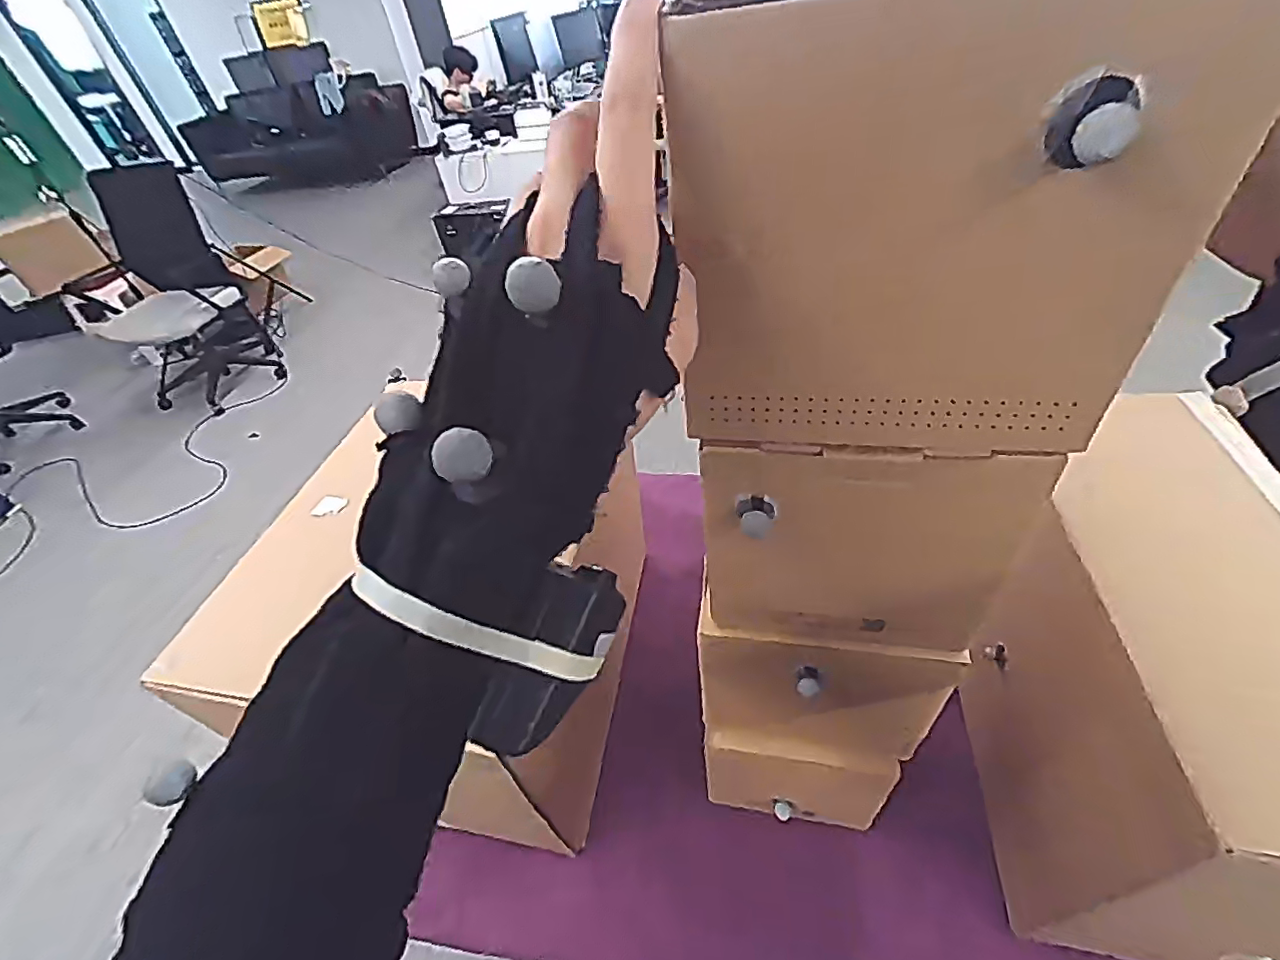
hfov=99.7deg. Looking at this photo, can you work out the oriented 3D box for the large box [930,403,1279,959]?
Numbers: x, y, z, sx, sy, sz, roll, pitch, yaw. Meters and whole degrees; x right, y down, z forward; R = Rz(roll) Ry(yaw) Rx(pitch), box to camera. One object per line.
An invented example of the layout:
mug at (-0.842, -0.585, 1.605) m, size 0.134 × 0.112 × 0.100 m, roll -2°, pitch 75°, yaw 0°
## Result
large box at (0.498, 0.174, 0.489) m, size 0.320 × 0.320 × 0.408 m, roll 2°, pitch 44°, yaw 12°
